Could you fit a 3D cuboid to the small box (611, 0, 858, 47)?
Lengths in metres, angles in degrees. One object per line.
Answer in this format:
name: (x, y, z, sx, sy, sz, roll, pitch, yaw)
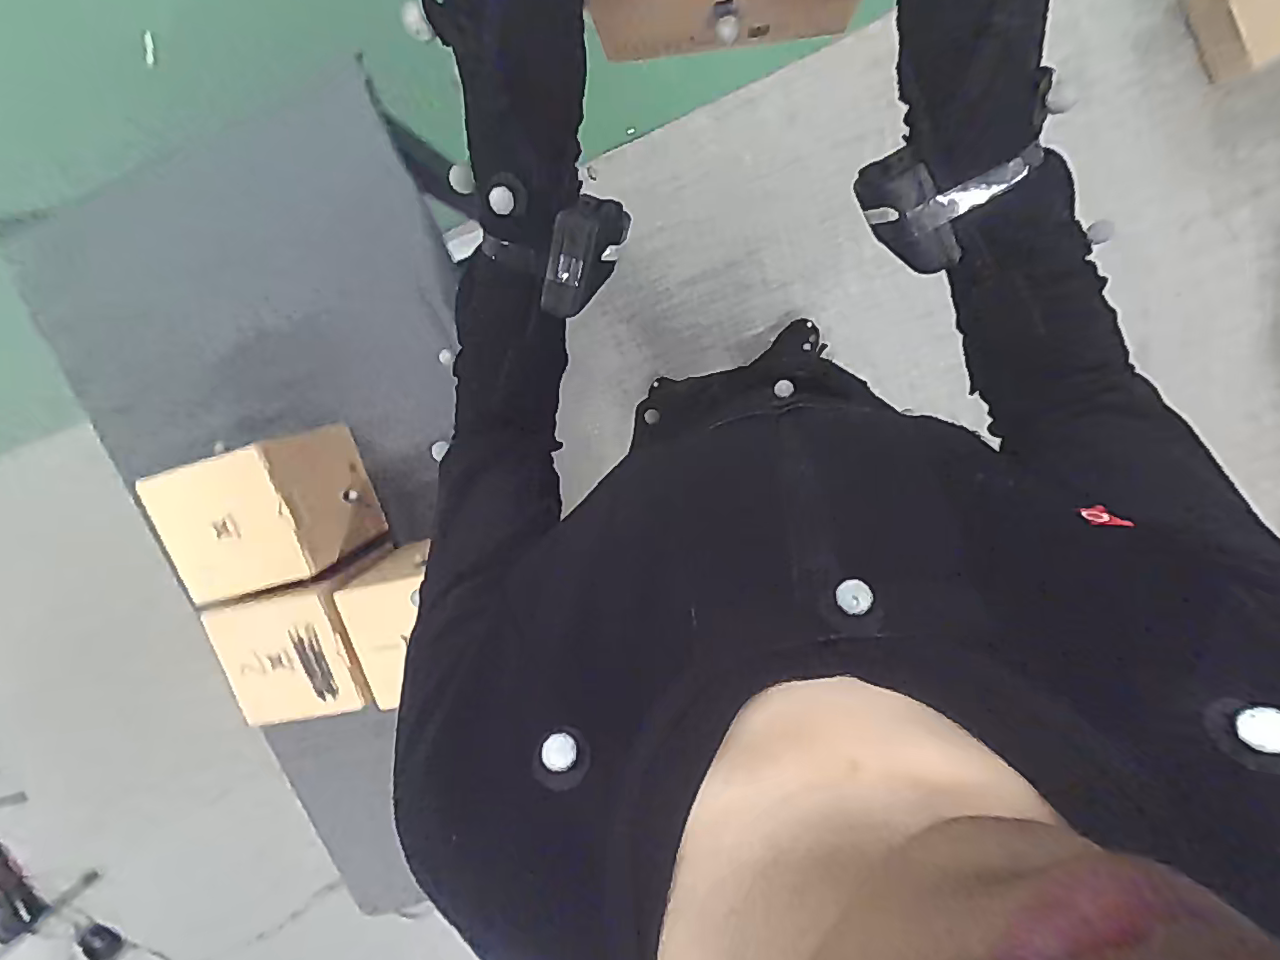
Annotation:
small box: (0.051, -0.365, 0.273, 0.168, 0.176, 0.179, 0, 107, 7)
